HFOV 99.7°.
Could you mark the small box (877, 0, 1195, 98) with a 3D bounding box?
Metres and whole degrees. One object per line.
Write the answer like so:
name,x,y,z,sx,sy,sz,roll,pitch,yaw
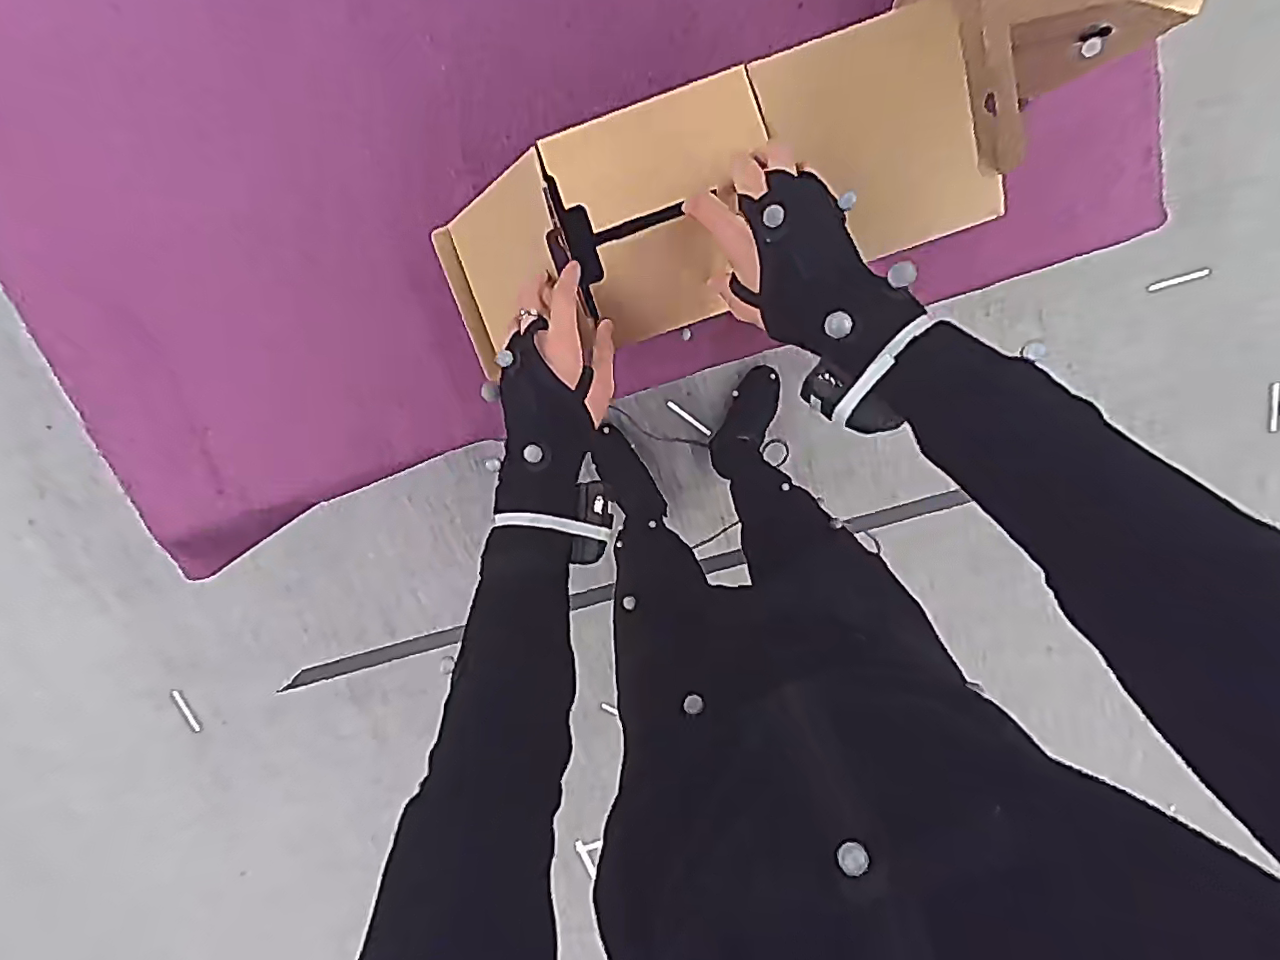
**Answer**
small box,0.339,-0.458,0.458,0.179,0.176,0.168,8,105,-6
